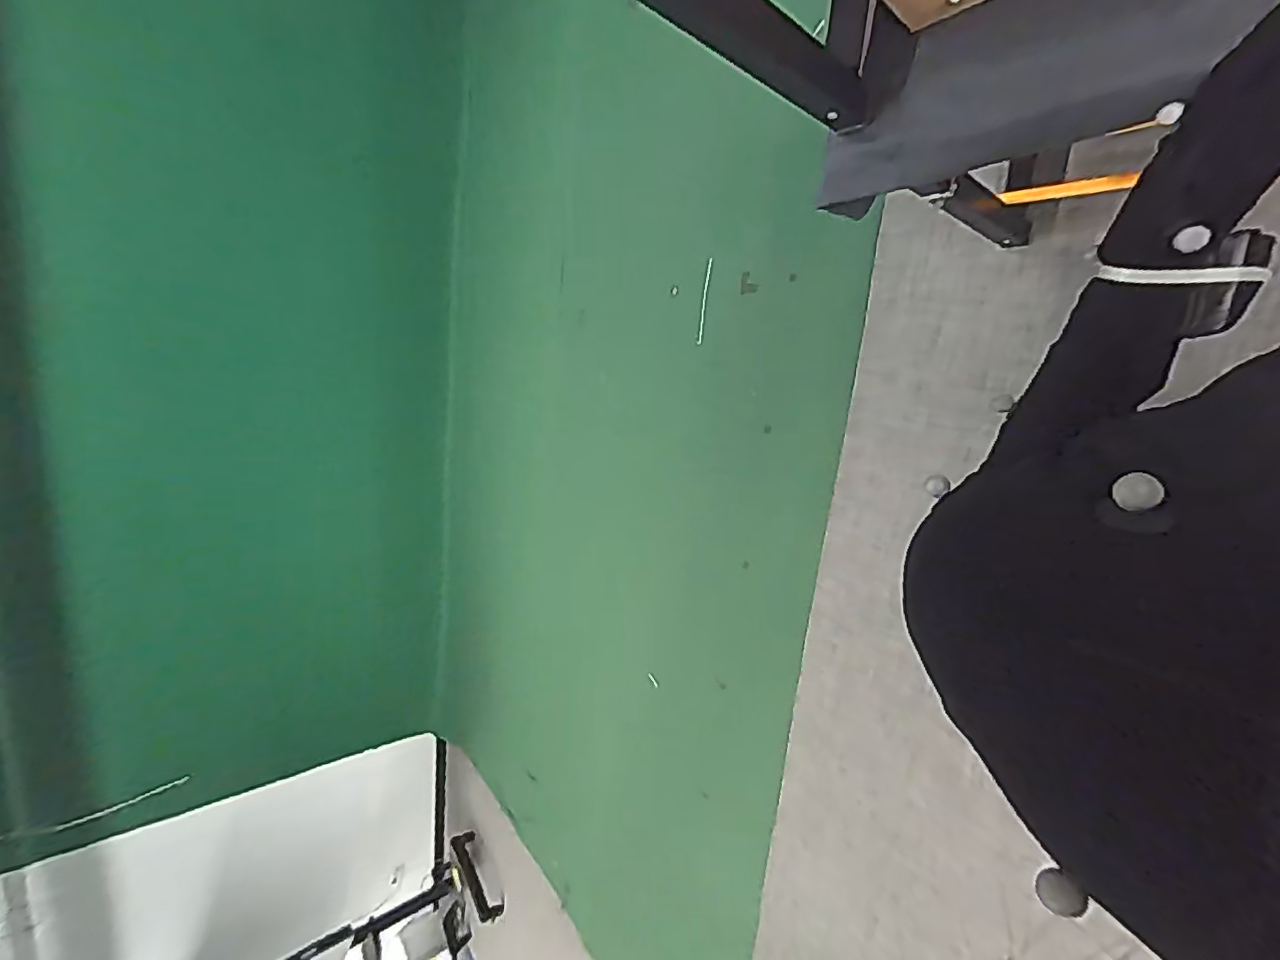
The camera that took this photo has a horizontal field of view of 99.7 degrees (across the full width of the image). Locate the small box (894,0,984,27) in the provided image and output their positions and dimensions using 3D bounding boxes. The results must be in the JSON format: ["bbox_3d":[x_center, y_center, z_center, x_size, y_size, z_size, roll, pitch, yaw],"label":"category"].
[{"bbox_3d":[0.371,-0.683,0.617,0.168,0.176,0.179,16,105,49],"label":"small box"}]
